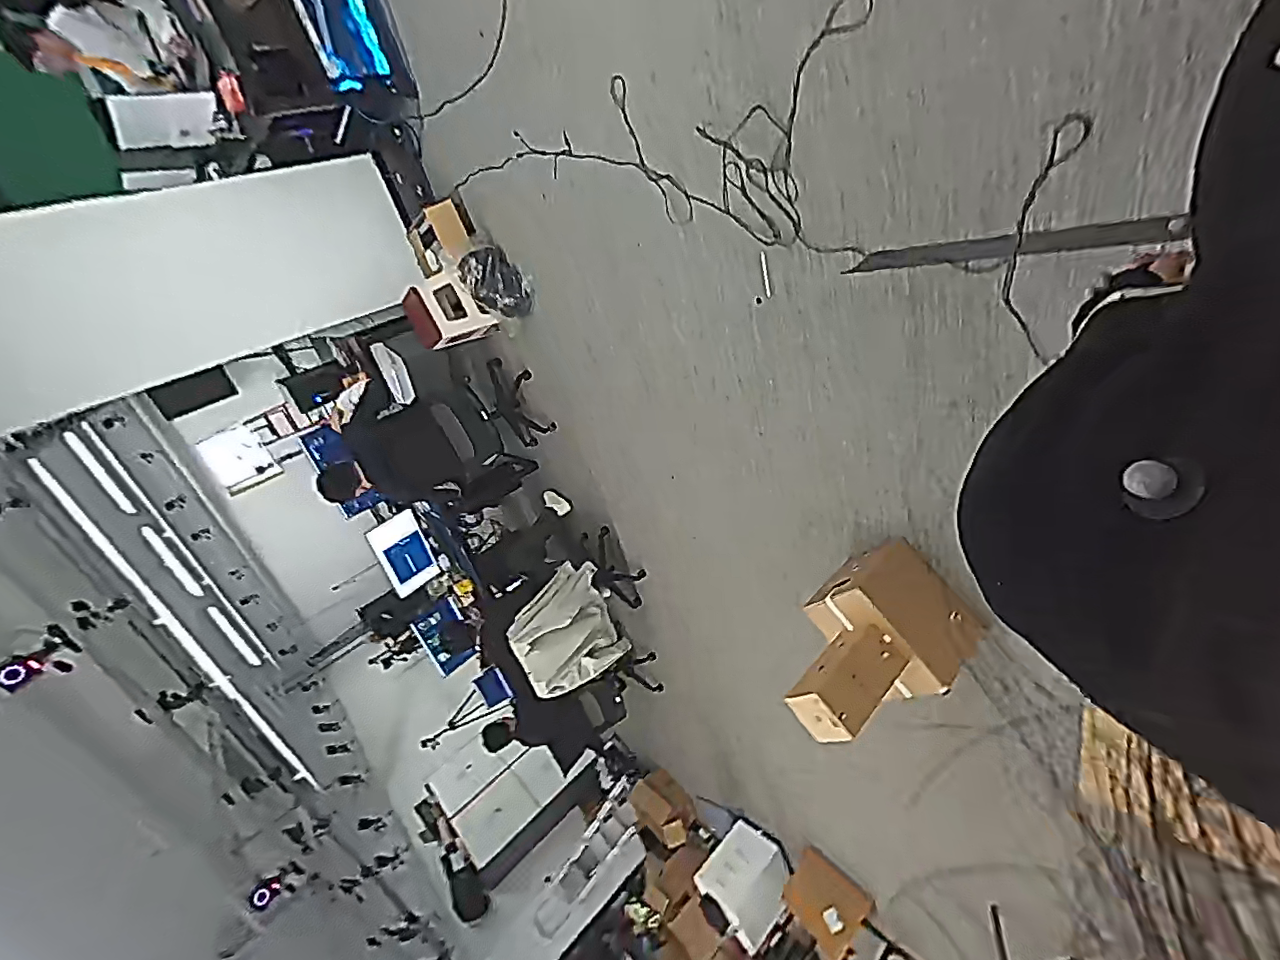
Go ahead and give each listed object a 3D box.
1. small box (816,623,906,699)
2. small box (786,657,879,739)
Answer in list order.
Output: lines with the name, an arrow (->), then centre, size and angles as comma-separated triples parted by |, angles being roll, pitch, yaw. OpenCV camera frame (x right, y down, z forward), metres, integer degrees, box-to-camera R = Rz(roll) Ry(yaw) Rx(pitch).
small box -> 0.714, 0.590, 1.744 | 0.168, 0.176, 0.179 | 50, 149, 10
small box -> 0.595, 0.671, 1.665 | 0.168, 0.176, 0.179 | 50, 150, 9
